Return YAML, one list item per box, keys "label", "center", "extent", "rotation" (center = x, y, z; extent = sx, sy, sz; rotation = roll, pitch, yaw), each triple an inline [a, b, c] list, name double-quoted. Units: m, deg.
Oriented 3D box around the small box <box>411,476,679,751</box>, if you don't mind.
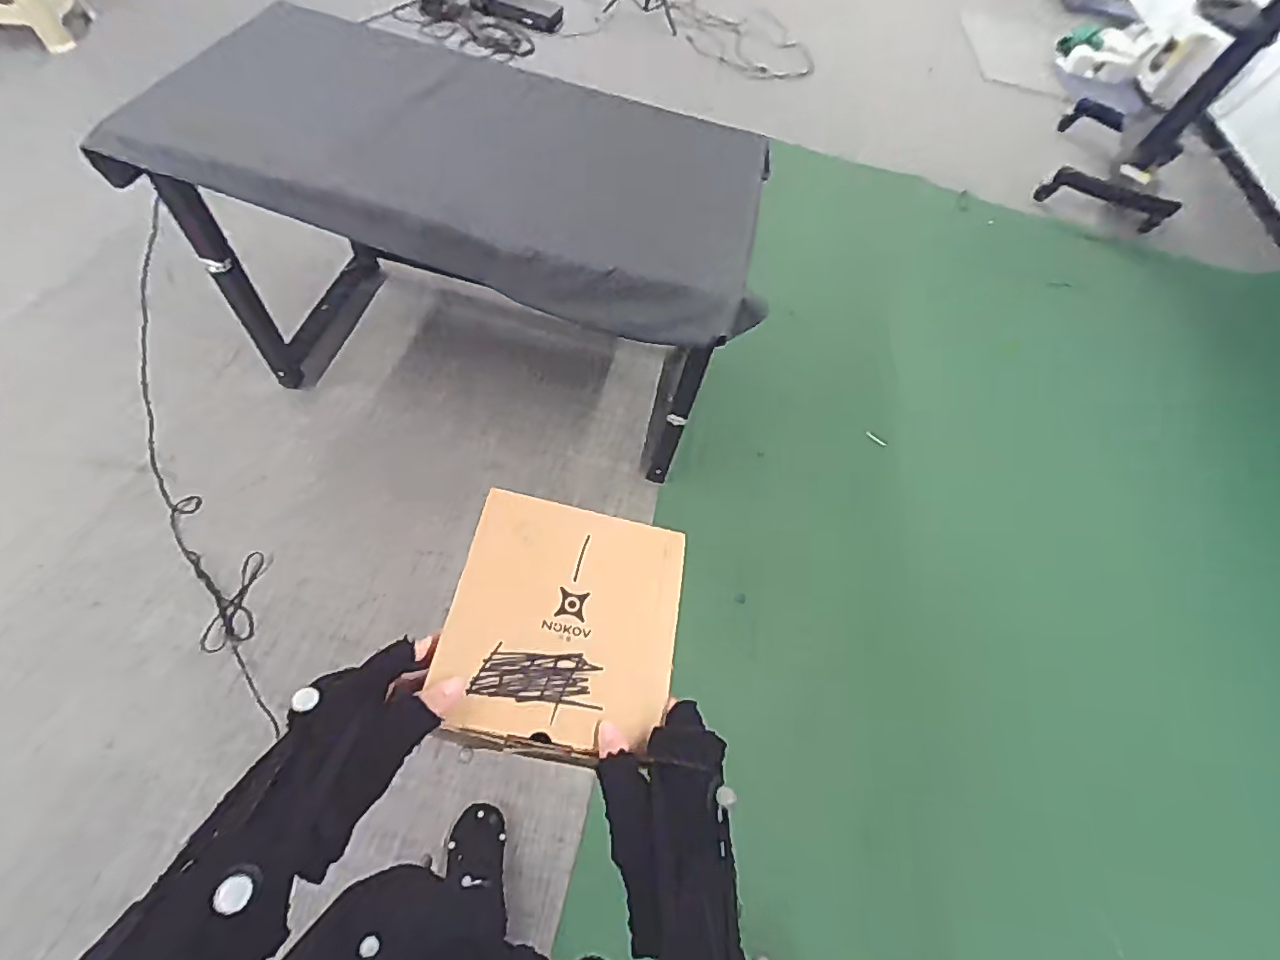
- label: "small box"
  center: [-0.075, 0.126, 0.470]
  extent: [0.168, 0.176, 0.179]
  rotation: [14, 59, -7]
